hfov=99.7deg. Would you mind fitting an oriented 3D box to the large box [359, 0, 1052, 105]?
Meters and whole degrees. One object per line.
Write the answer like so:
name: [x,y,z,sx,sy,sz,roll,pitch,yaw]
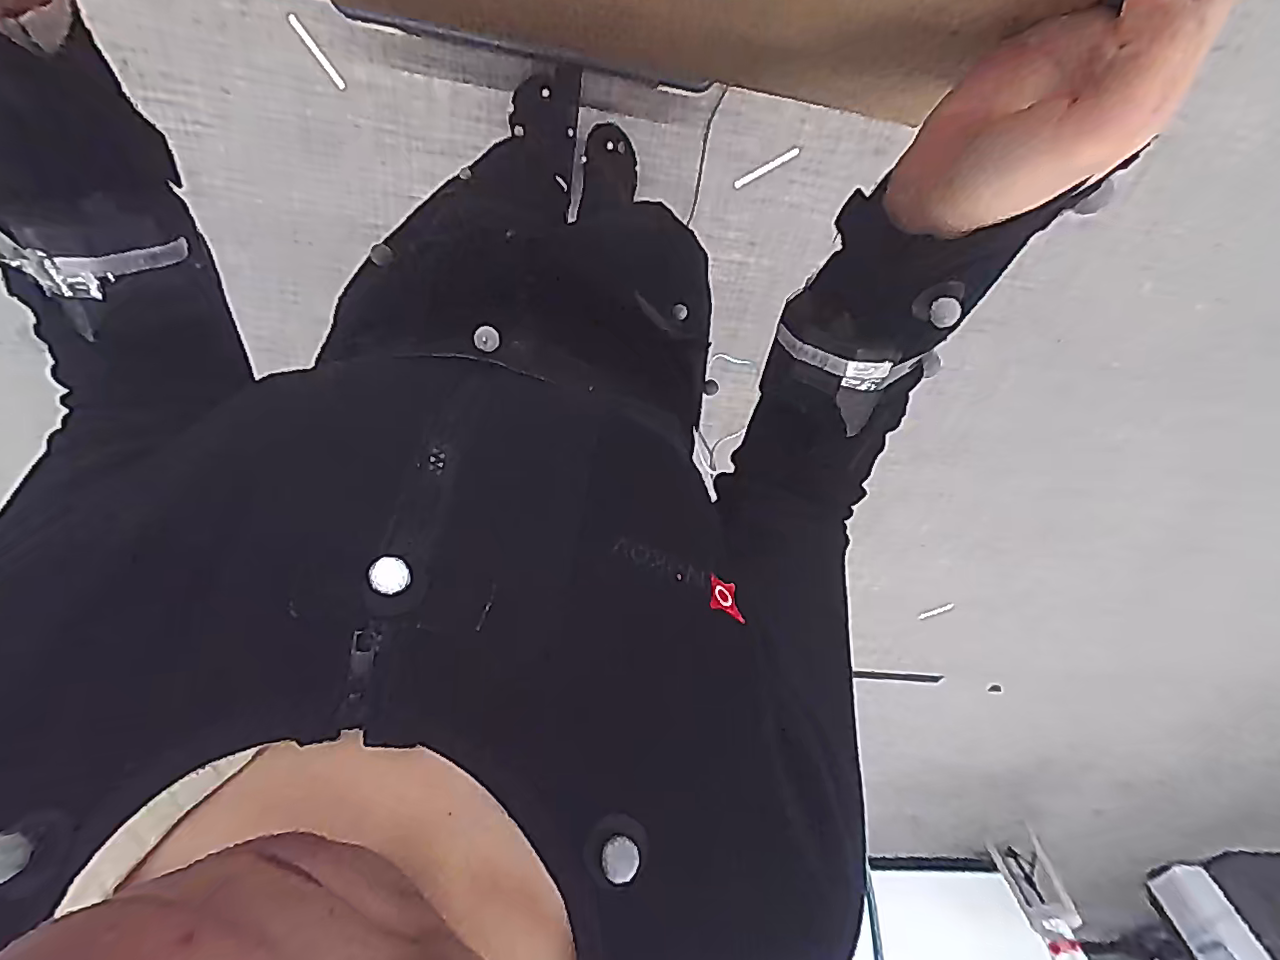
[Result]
large box: [-0.013,-0.346,0.108,0.408,0.320,0.320,7,103,-6]
